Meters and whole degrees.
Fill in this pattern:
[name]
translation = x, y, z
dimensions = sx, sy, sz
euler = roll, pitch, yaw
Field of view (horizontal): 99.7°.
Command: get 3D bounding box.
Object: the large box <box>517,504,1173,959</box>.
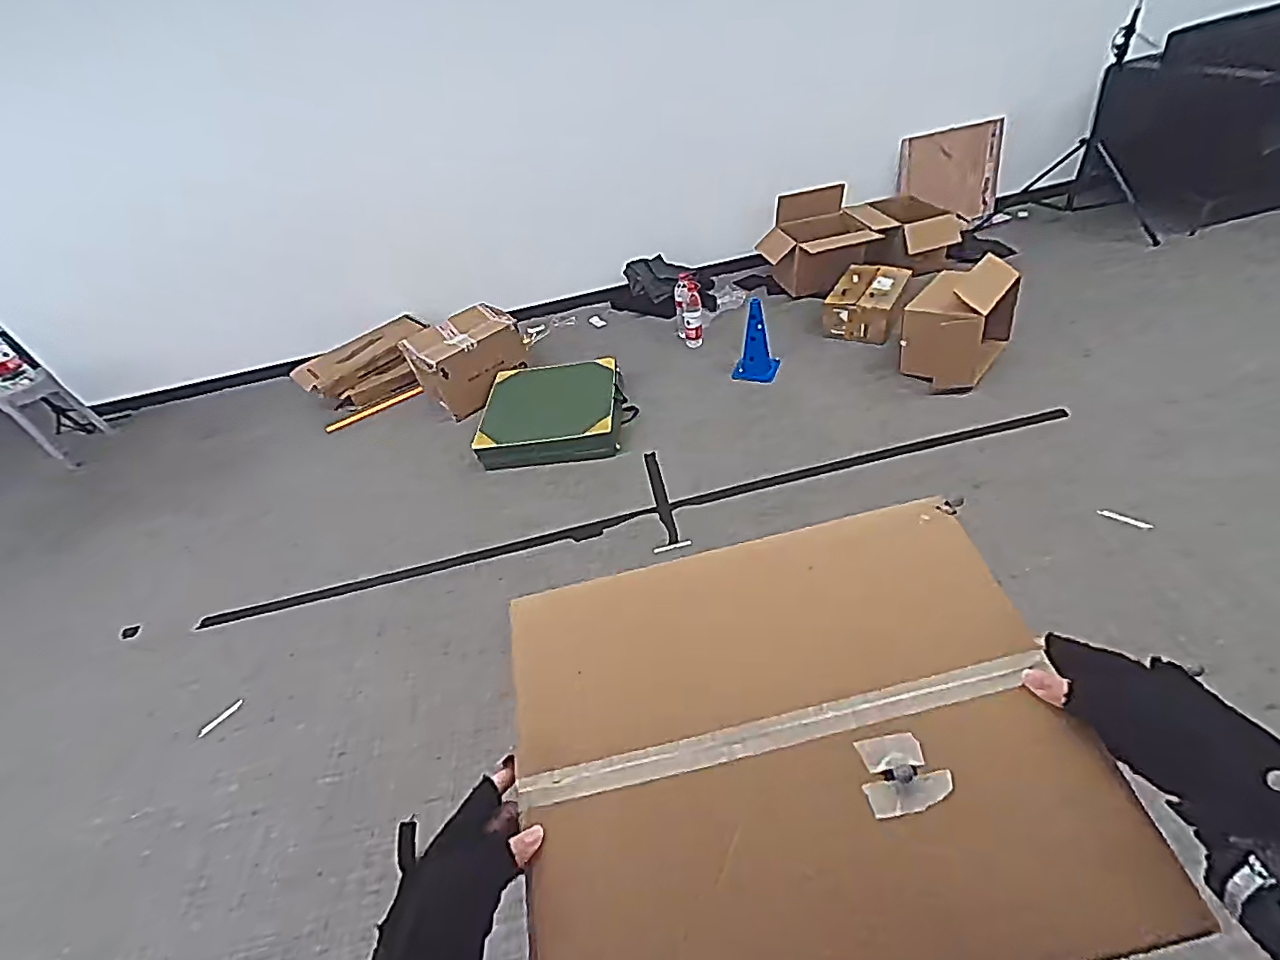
[large box]
translation = 0.128, 0.276, 0.536
dimensions = 0.408, 0.320, 0.320
euler = -14, 55, -1
